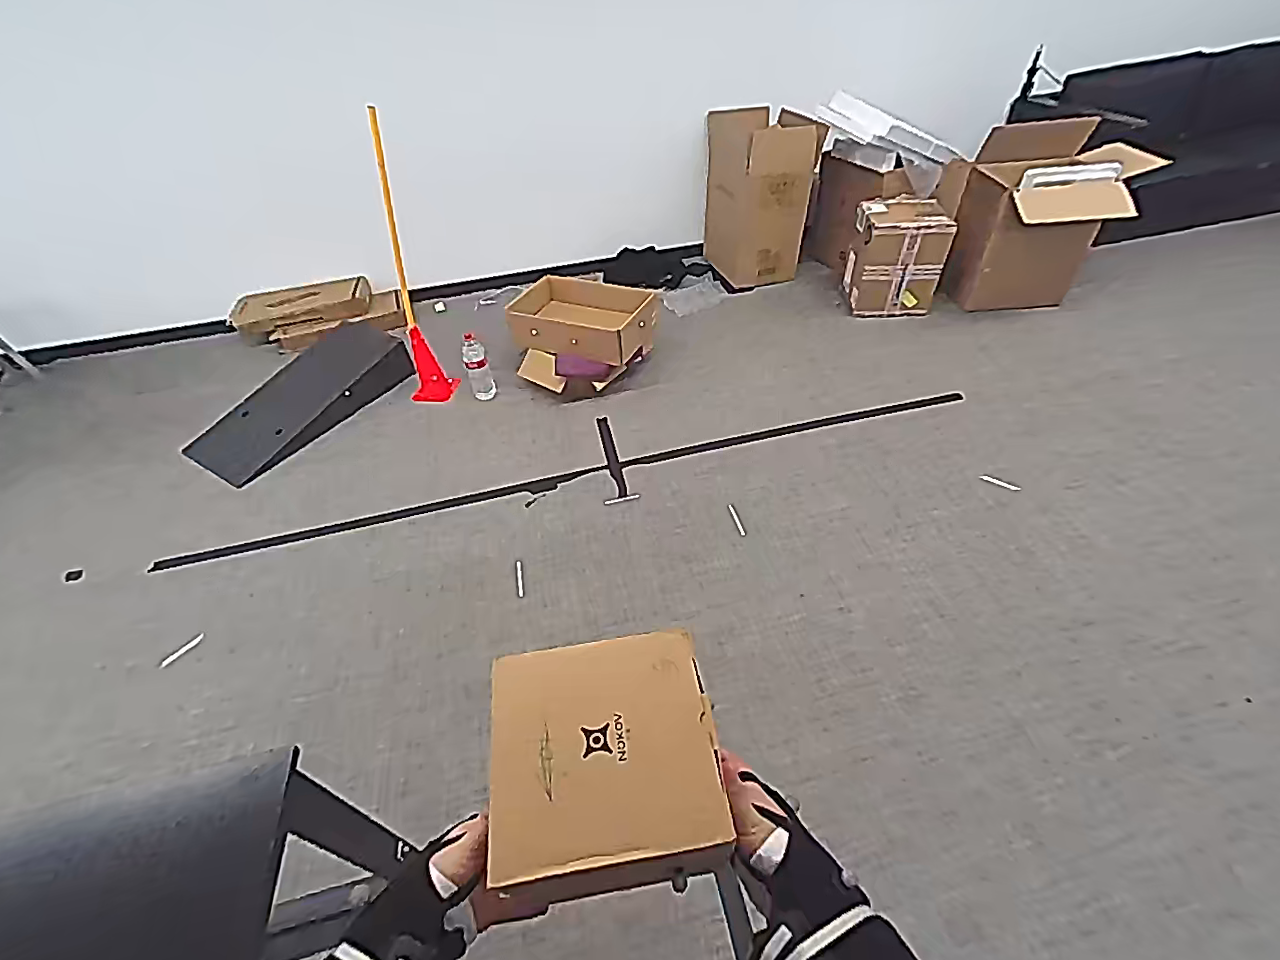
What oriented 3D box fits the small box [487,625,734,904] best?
[{"bbox_3d":[-0.026,0.255,0.483,0.179,0.176,0.168,-11,47,-3],"label":"small box"}]
